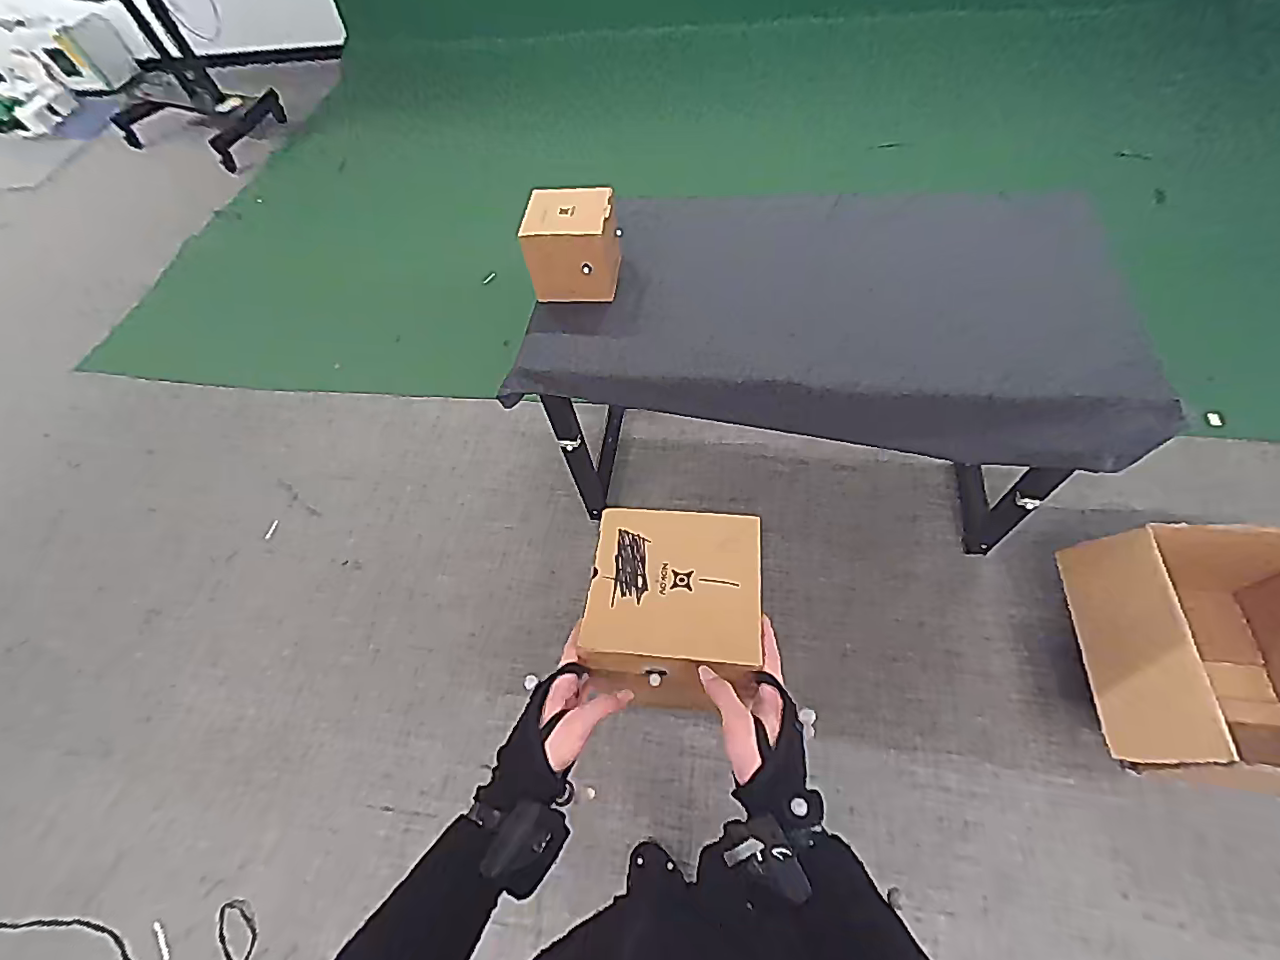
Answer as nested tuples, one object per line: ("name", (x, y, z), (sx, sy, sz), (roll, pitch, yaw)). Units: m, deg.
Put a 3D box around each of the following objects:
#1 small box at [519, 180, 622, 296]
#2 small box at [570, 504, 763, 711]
("small box", (-0.139, -0.518, 1.170), (0.179, 0.176, 0.168), (1, 58, 8))
("small box", (0.039, 0.146, 0.608), (0.179, 0.176, 0.168), (6, 55, 10))
